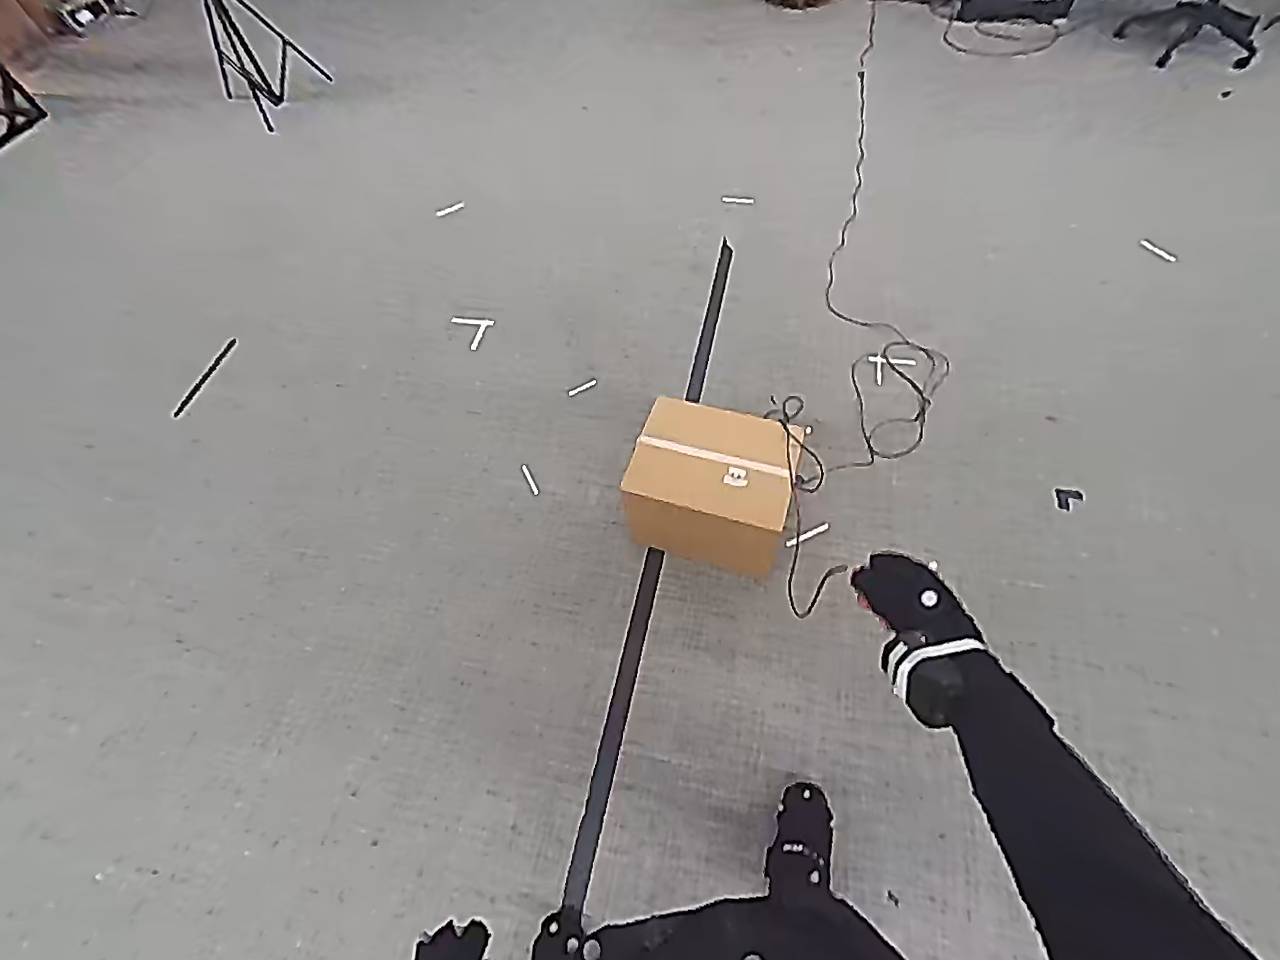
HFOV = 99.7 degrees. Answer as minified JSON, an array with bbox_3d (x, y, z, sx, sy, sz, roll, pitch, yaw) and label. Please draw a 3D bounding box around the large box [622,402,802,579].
[{"bbox_3d":[0.193,0.032,1.492,0.408,0.320,0.320,15,61,13],"label":"large box"}]
